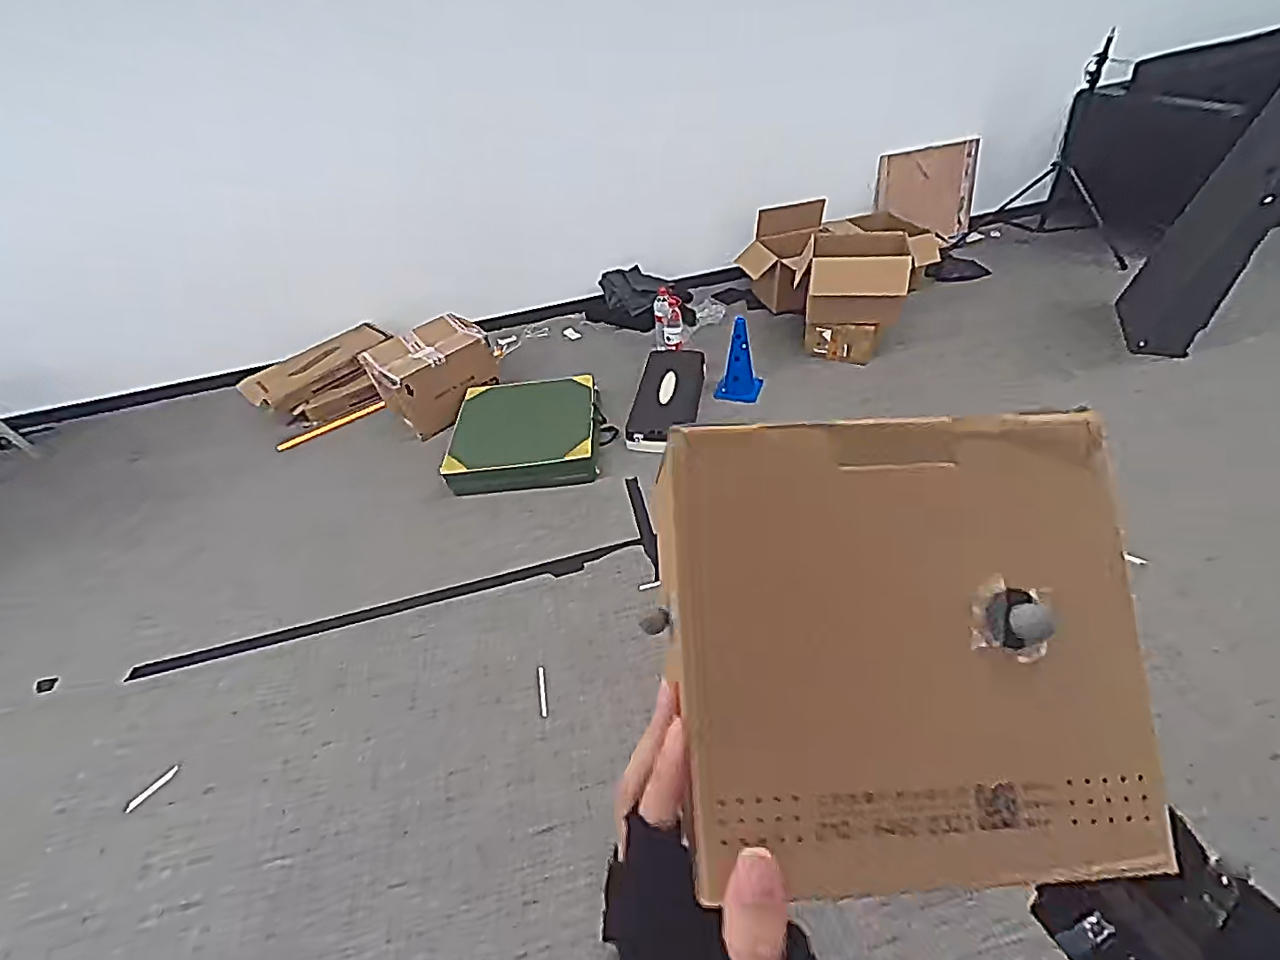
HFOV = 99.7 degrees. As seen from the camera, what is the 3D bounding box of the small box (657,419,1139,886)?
[{"bbox_3d":[0.097,0.075,0.279,0.168,0.179,0.176,-3,82,1],"label":"small box"}]
